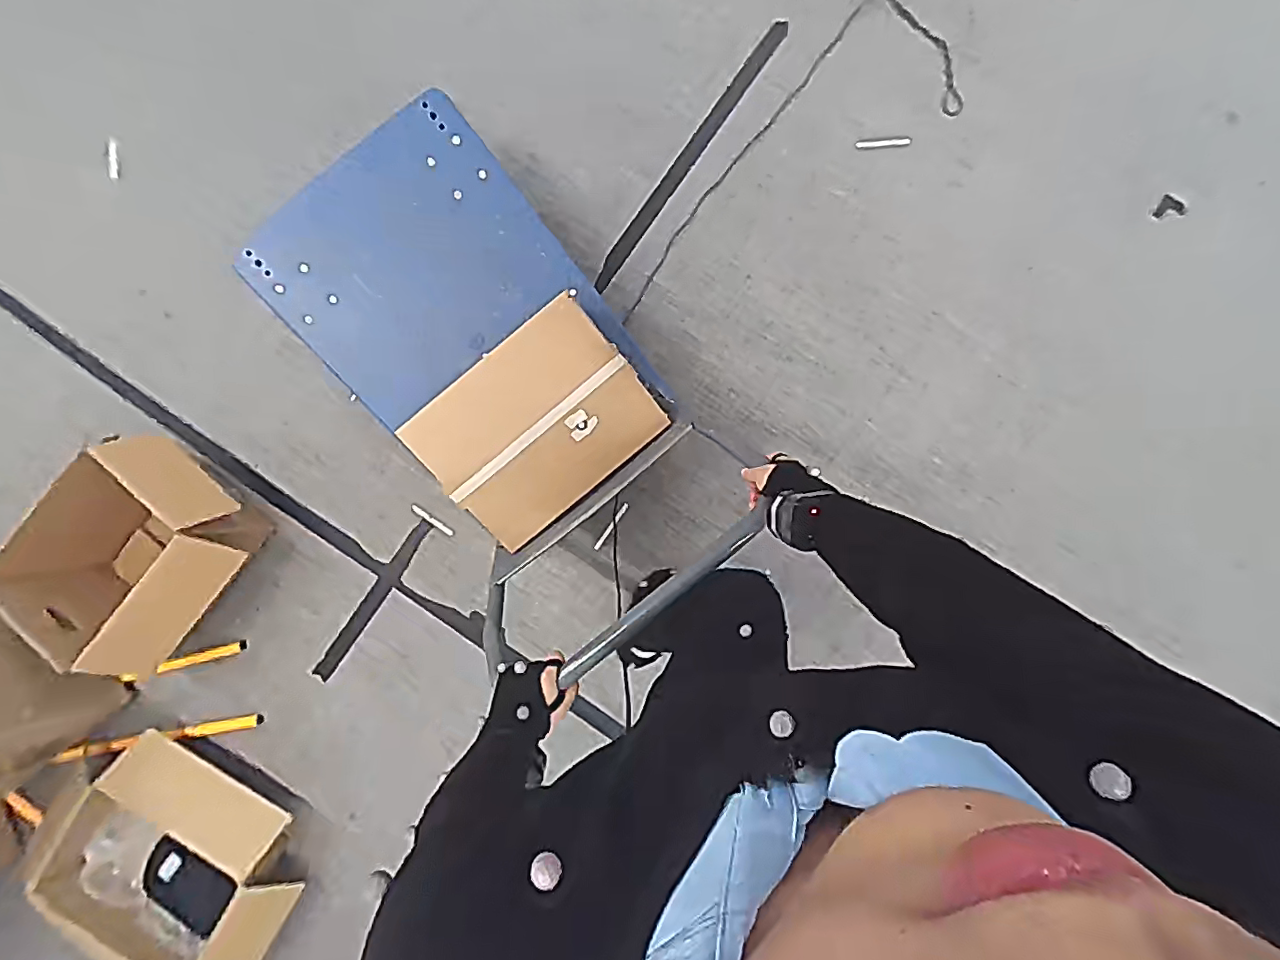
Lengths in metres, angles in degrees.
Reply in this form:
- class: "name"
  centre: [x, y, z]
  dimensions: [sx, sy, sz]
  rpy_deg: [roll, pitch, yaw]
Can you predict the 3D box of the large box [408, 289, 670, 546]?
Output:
- class: "large box"
  centre: [-0.207, -0.136, 1.159]
  dimensions: [0.408, 0.320, 0.320]
  rpy_deg: [-41, 107, 1]
